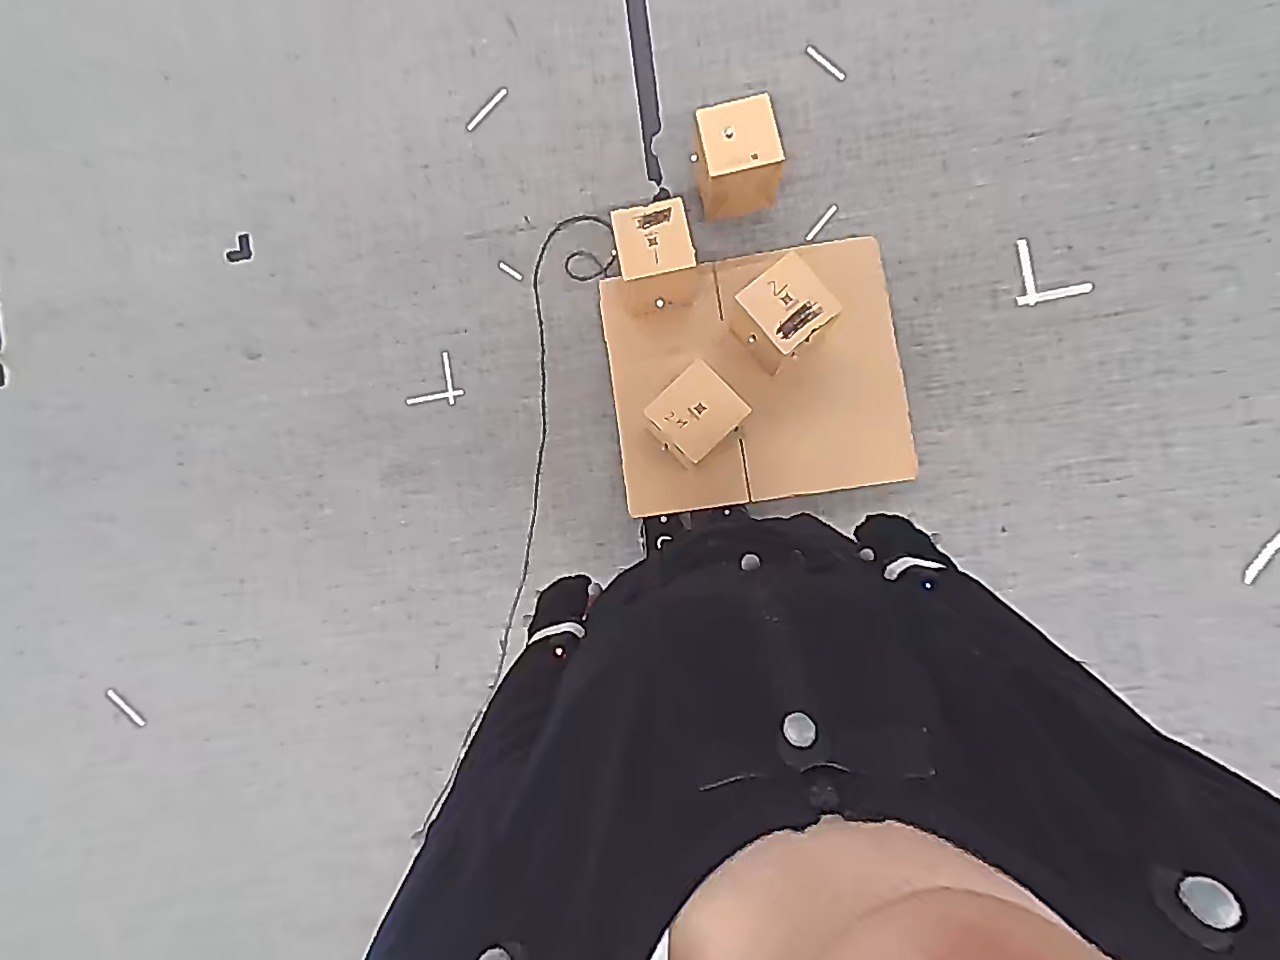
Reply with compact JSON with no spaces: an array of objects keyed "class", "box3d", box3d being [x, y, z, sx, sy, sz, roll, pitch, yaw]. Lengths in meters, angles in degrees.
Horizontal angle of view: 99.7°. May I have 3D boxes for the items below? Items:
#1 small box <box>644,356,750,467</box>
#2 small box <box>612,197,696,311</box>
[{"class":"small box","box3d":[0.125,-0.150,1.250,0.179,0.176,0.168,-43,84,-1]},{"class":"small box","box3d":[0.032,-0.529,1.283,0.168,0.176,0.179,-11,81,2]}]
